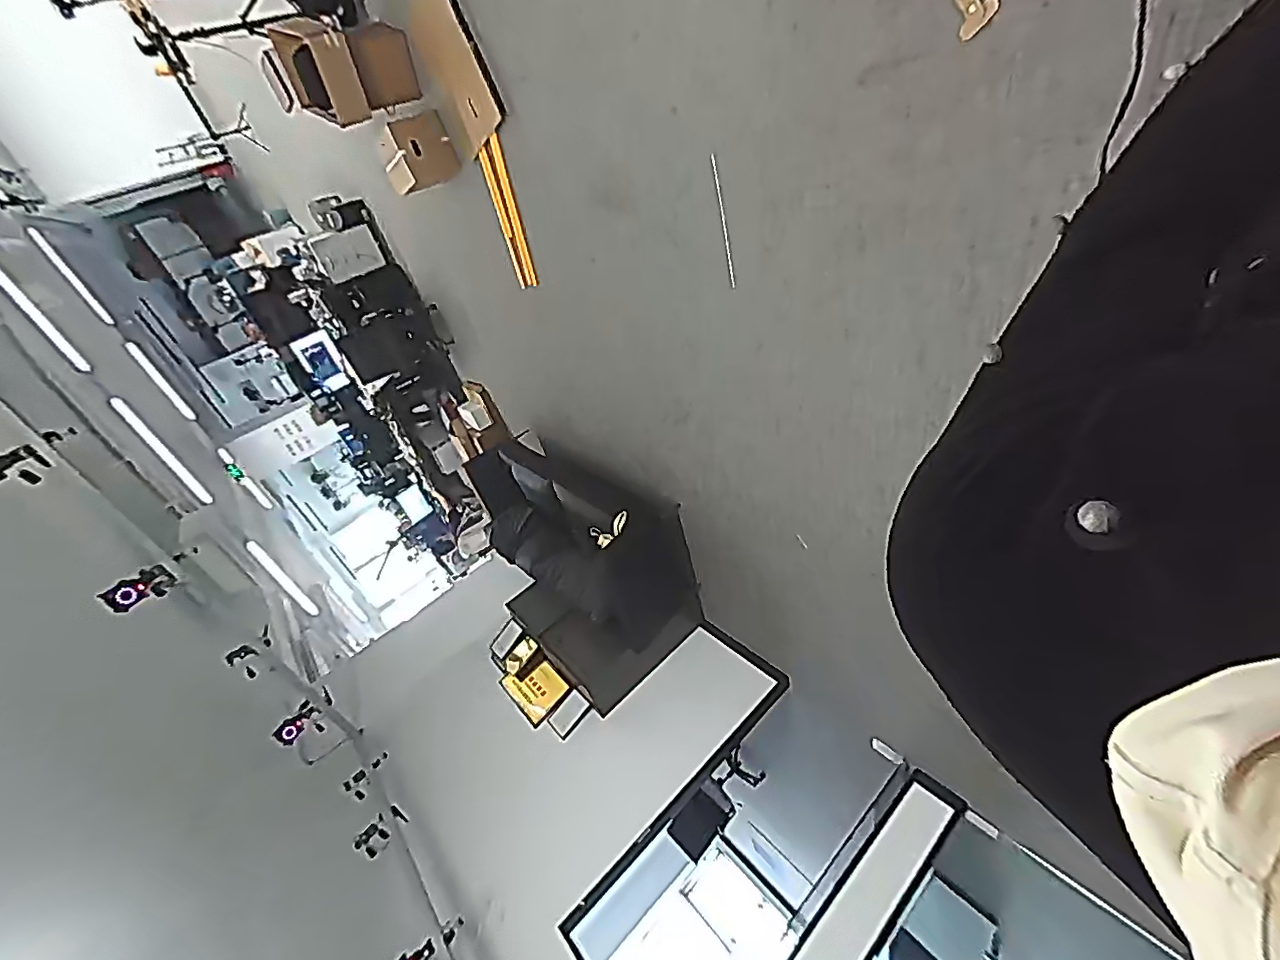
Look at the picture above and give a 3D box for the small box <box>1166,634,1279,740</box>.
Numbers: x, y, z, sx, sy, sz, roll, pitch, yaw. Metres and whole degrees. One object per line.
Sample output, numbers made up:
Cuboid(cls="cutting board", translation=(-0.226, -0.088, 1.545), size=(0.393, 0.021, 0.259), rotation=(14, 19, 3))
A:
Cuboid(cls="small box", translation=(1.612, 0.564, 1.487), size=(0.168, 0.176, 0.179), rotation=(29, 146, 43))
